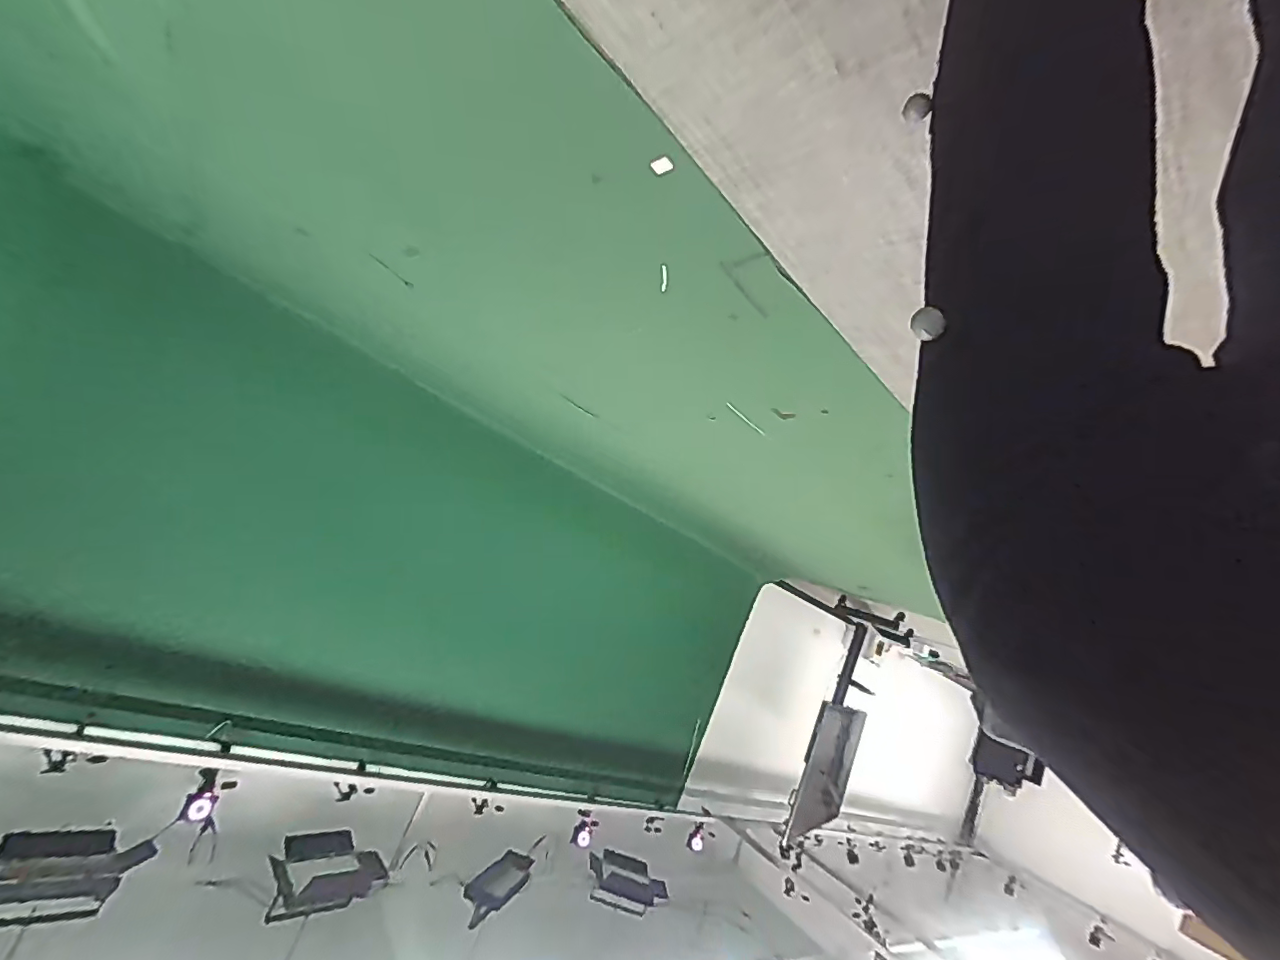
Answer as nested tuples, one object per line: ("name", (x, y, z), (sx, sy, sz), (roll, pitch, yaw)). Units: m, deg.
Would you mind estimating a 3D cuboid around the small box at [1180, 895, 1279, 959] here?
("small box", (1.752, 1.370, 1.604), (0.168, 0.176, 0.179), (32, 167, -36))
